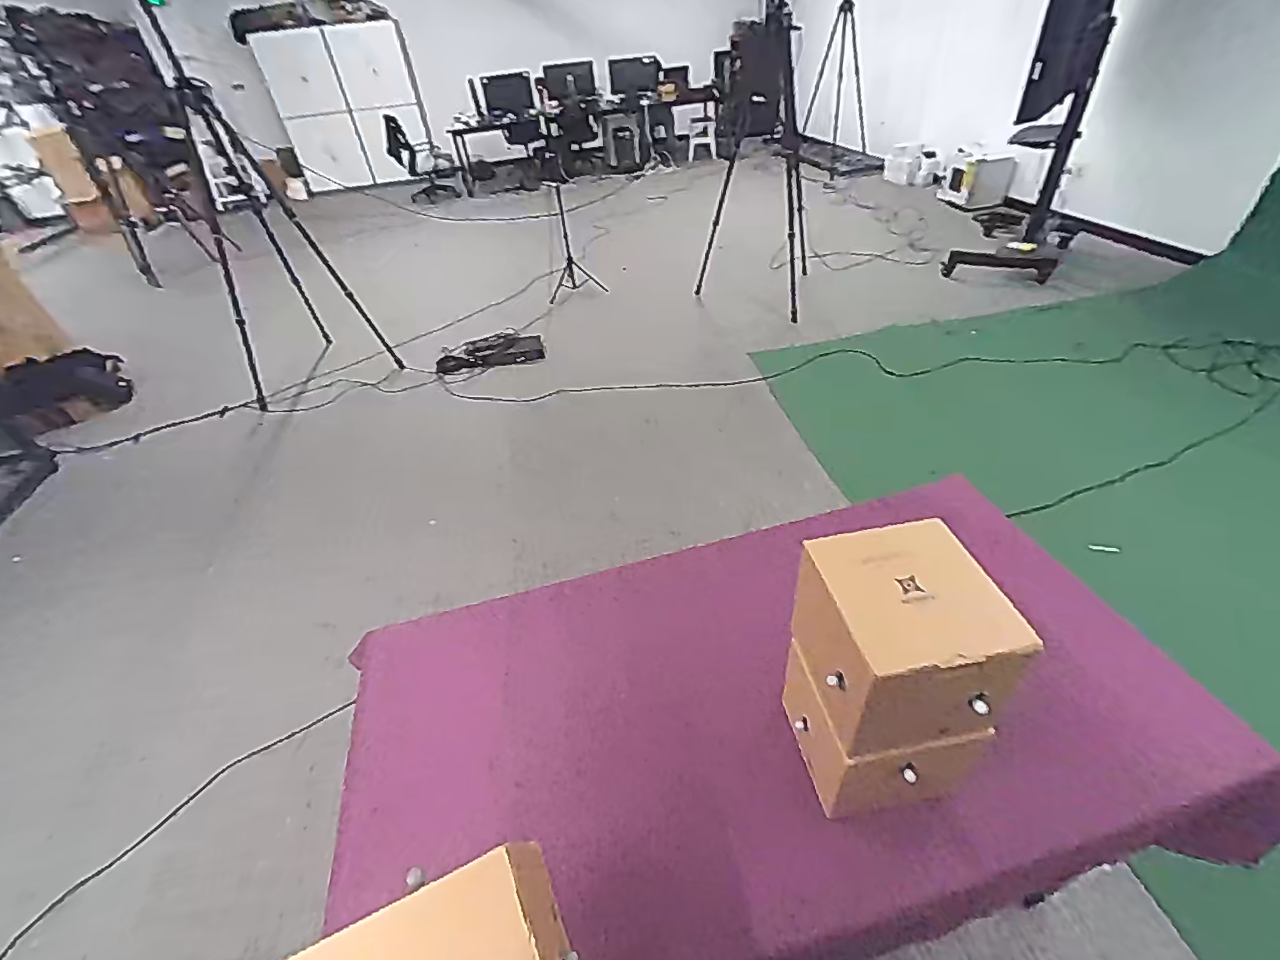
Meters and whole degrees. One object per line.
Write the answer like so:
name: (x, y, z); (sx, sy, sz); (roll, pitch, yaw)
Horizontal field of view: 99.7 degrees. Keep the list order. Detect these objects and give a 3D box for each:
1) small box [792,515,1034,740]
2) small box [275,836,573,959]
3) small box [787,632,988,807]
small box: (0.281, 0.168, 0.606); (0.168, 0.176, 0.179); (-9, 39, -2)
small box: (-0.150, 0.415, 0.428); (0.179, 0.176, 0.168); (-20, 59, -15)
small box: (0.300, 0.298, 0.703); (0.179, 0.176, 0.168); (-10, 40, -3)
